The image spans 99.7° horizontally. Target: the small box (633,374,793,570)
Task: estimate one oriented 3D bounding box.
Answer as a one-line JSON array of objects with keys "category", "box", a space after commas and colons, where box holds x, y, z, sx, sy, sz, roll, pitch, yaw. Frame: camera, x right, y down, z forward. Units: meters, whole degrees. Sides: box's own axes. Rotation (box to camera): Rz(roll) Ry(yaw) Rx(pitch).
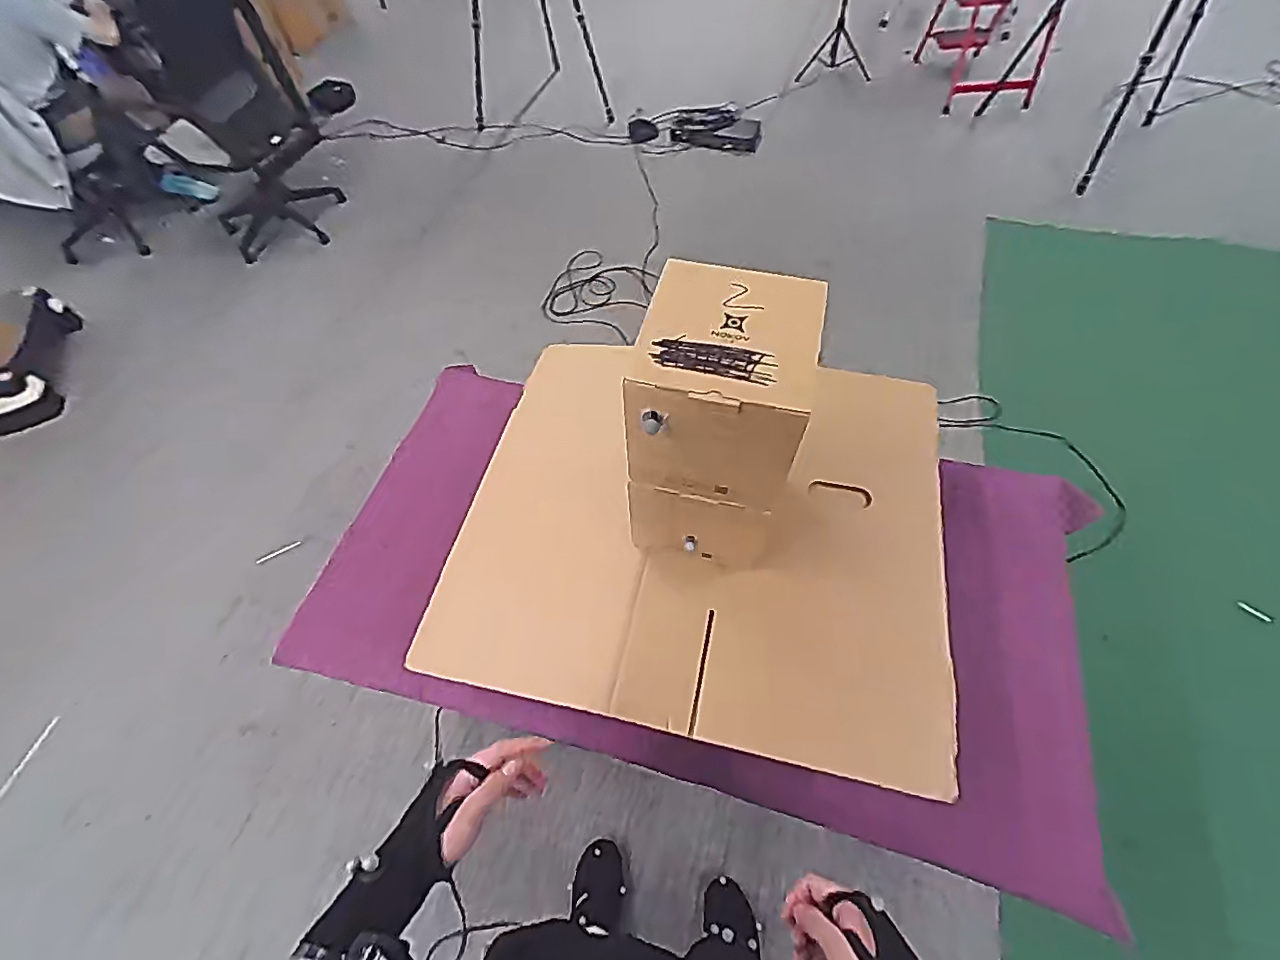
[{"category": "small box", "box": [0.091, -0.007, 0.709, 0.168, 0.176, 0.179, 12, 60, 9]}]
